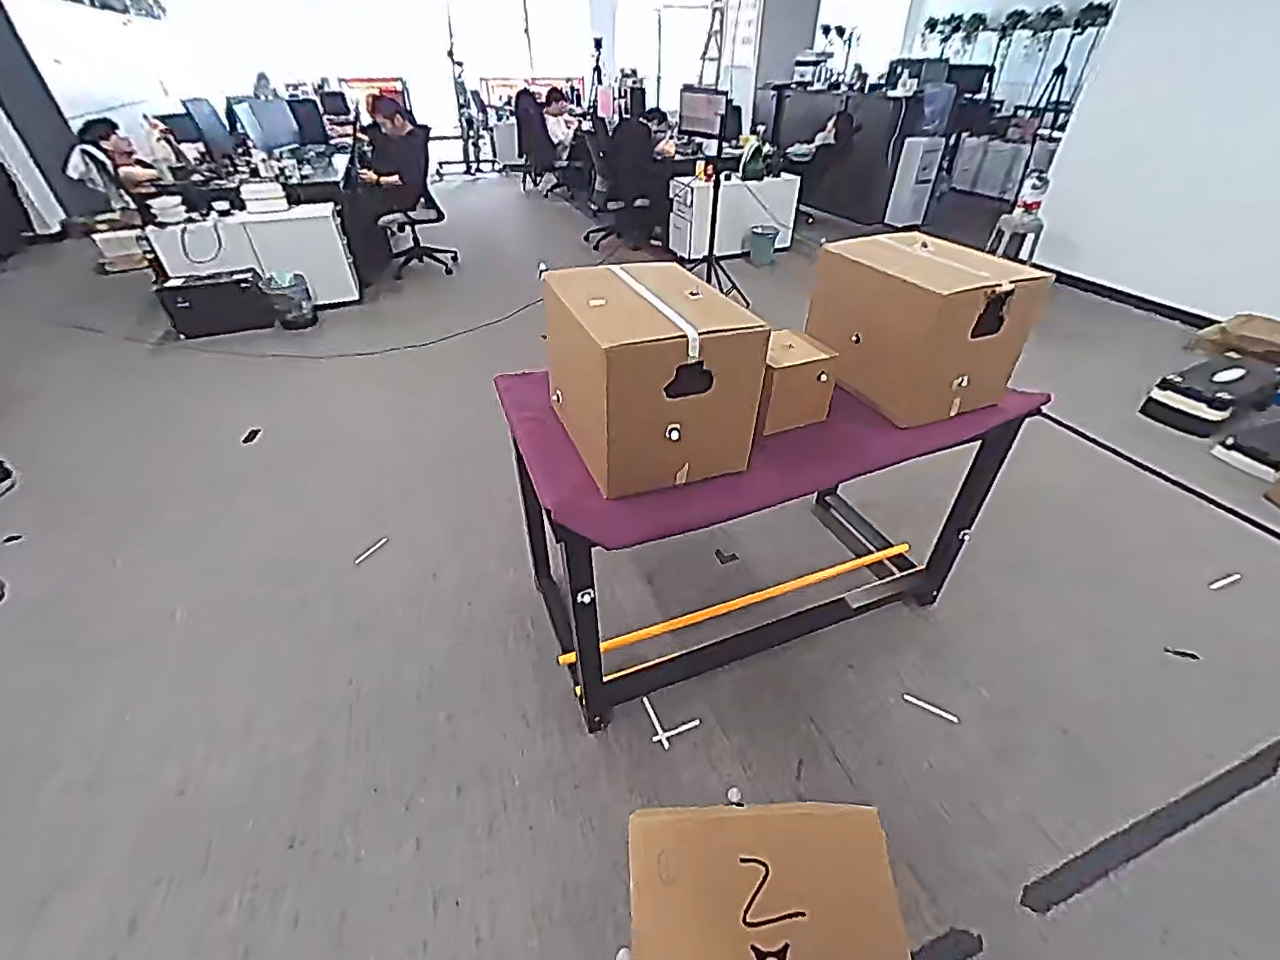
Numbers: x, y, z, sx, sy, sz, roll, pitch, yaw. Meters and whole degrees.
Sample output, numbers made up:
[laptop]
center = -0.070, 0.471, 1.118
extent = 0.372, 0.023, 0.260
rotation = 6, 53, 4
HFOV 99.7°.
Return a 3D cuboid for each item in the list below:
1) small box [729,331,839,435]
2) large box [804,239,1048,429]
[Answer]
[small box]
center = 0.324, -0.226, 1.253
extent = 0.179, 0.176, 0.168
rotation = -15, 39, -18
[large box]
center = 0.656, -0.373, 1.330
extent = 0.320, 0.320, 0.408
rotation = -14, 38, -17
